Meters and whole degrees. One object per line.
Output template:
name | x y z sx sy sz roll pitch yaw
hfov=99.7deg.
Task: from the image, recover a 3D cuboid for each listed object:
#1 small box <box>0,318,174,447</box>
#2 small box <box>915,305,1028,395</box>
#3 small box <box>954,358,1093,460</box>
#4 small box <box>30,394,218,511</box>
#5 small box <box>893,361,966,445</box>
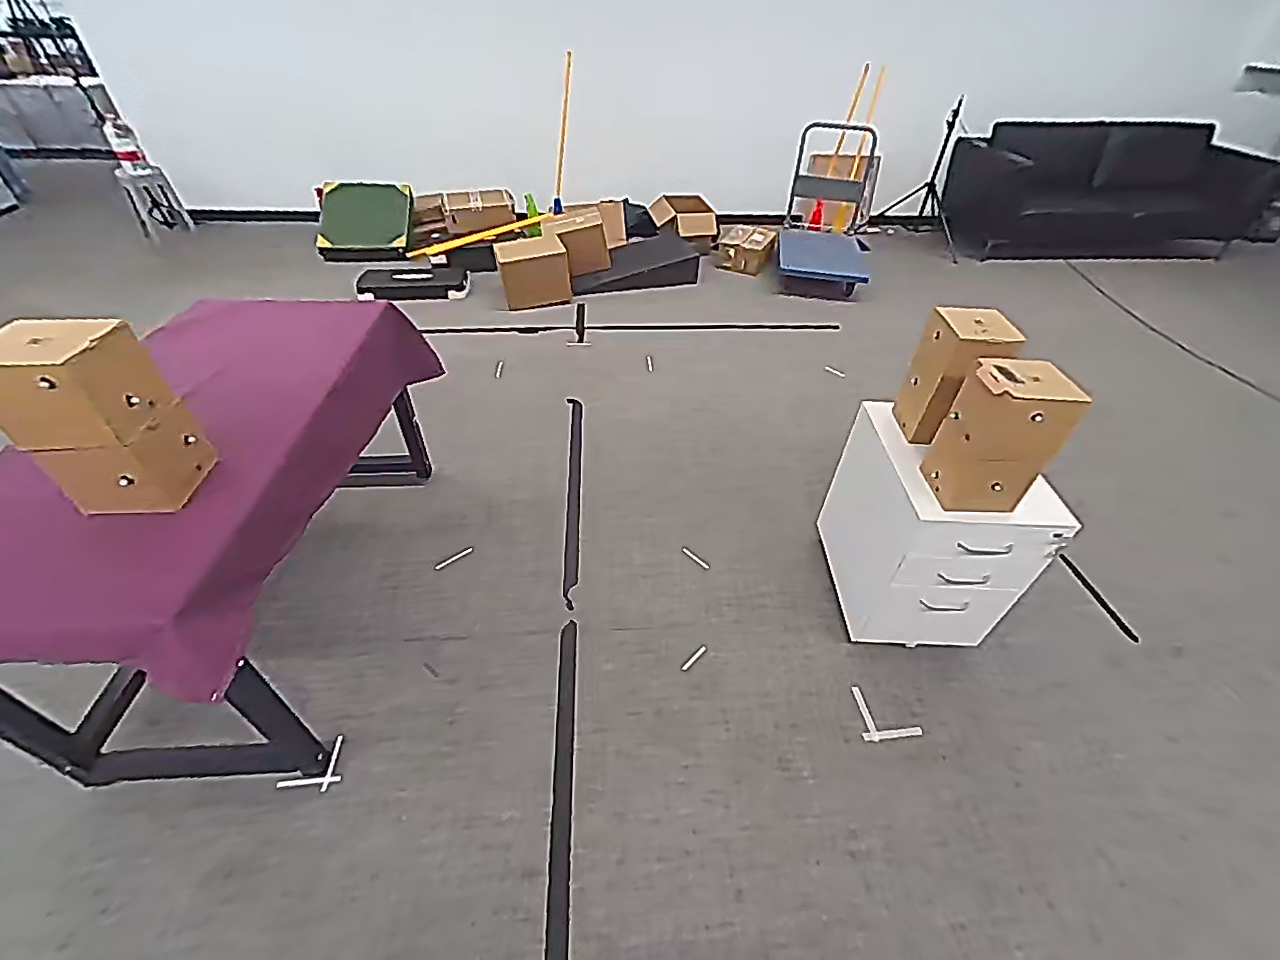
small box | -0.988 -0.170 0.948 0.179 0.176 0.168 -2 42 -7
small box | 0.851 -0.336 1.411 0.168 0.176 0.179 2 43 1
small box | 0.844 -0.158 1.220 0.179 0.176 0.168 2 43 -2
small box | -0.987 -0.053 1.060 0.179 0.176 0.168 -2 42 -4
small box | 0.849 -0.215 1.523 0.179 0.176 0.168 4 43 0
